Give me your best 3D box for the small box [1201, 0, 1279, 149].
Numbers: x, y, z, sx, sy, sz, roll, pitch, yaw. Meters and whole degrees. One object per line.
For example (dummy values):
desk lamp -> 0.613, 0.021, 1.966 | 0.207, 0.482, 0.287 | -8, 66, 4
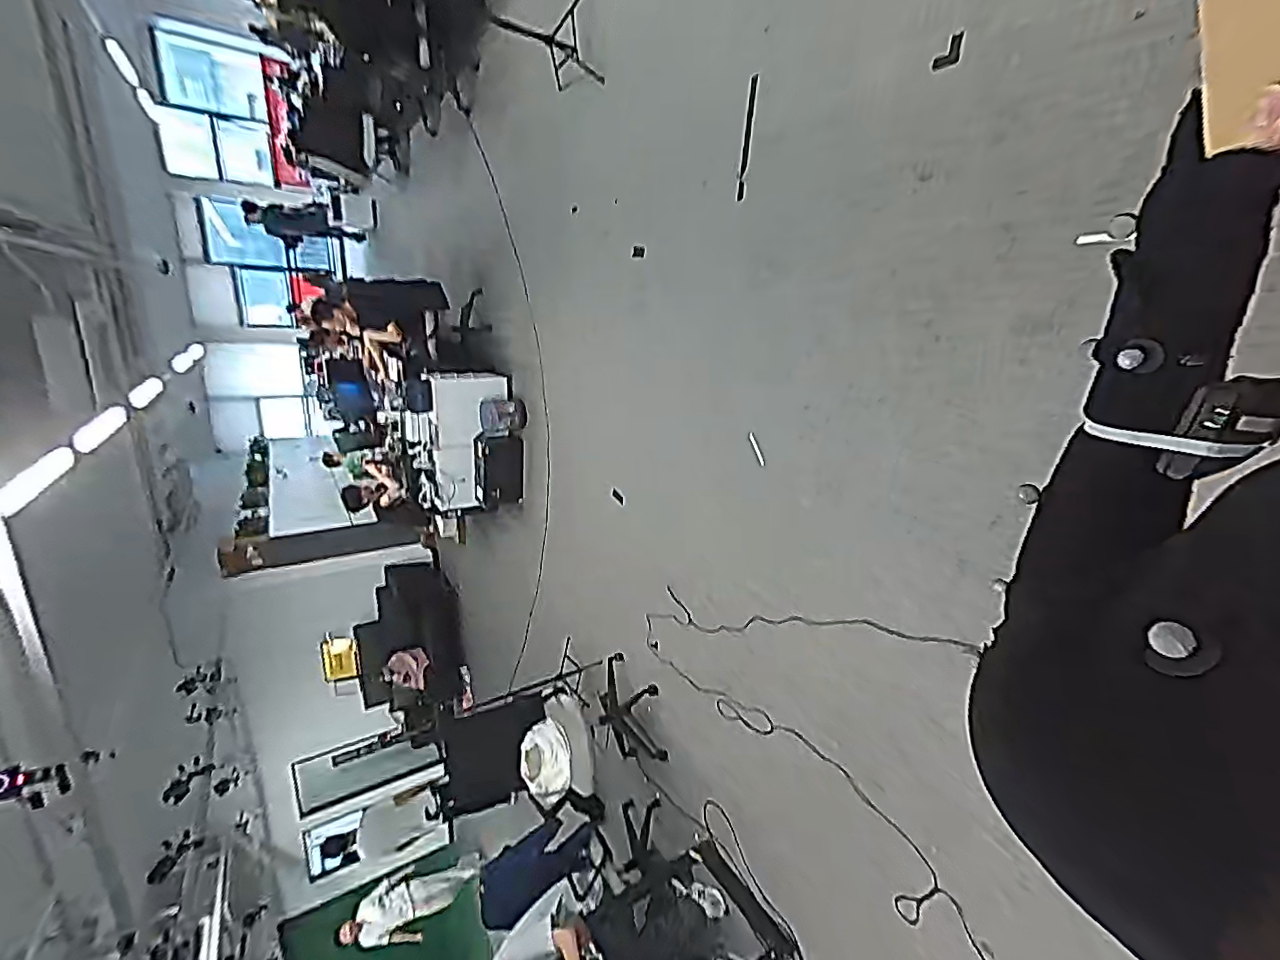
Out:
small box -> 0.381, -0.263, 0.206 | 0.168, 0.179, 0.176 | -135, 35, -81
